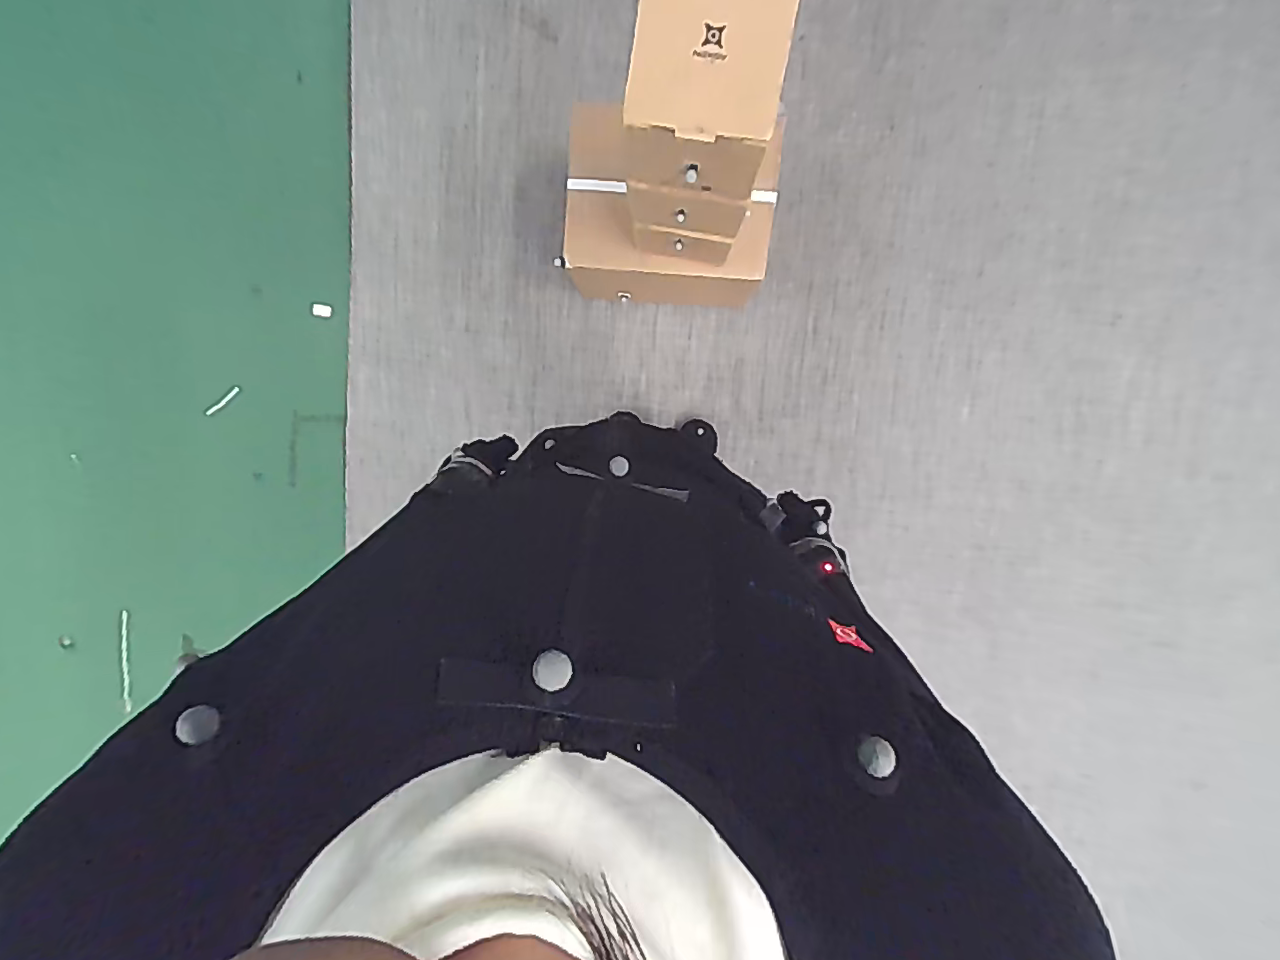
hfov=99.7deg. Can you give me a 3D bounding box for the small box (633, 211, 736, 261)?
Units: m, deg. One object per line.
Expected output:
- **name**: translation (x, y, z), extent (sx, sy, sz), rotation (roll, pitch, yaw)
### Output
- **small box**: translation (0.091, -0.508, 0.975), extent (0.179, 0.176, 0.168), rotation (11, 100, 0)

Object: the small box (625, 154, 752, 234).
- **small box**: translation (0.085, -0.486, 0.814), extent (0.179, 0.176, 0.168), rotation (11, 100, 4)

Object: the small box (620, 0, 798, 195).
- **small box**: translation (0.079, -0.469, 0.650), extent (0.168, 0.176, 0.179), rotation (11, 101, 2)
